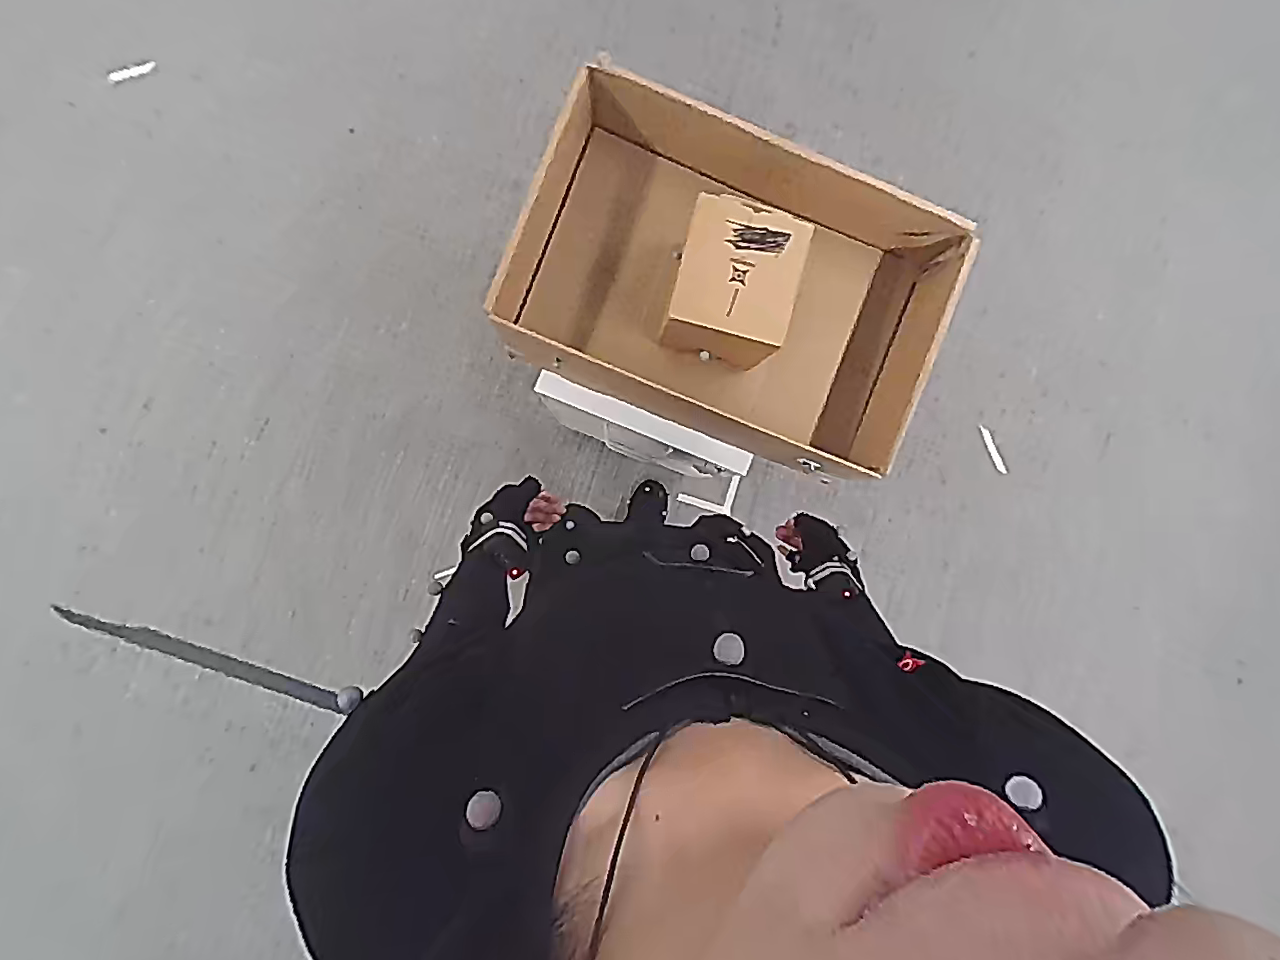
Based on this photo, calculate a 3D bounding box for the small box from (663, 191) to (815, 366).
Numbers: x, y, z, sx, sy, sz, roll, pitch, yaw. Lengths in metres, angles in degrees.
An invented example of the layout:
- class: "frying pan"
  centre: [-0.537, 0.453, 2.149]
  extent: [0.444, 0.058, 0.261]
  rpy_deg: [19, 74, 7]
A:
- class: "small box"
  centre: [0.136, -0.287, 0.809]
  extent: [0.168, 0.176, 0.179]
  rpy_deg: [14, 90, -3]
